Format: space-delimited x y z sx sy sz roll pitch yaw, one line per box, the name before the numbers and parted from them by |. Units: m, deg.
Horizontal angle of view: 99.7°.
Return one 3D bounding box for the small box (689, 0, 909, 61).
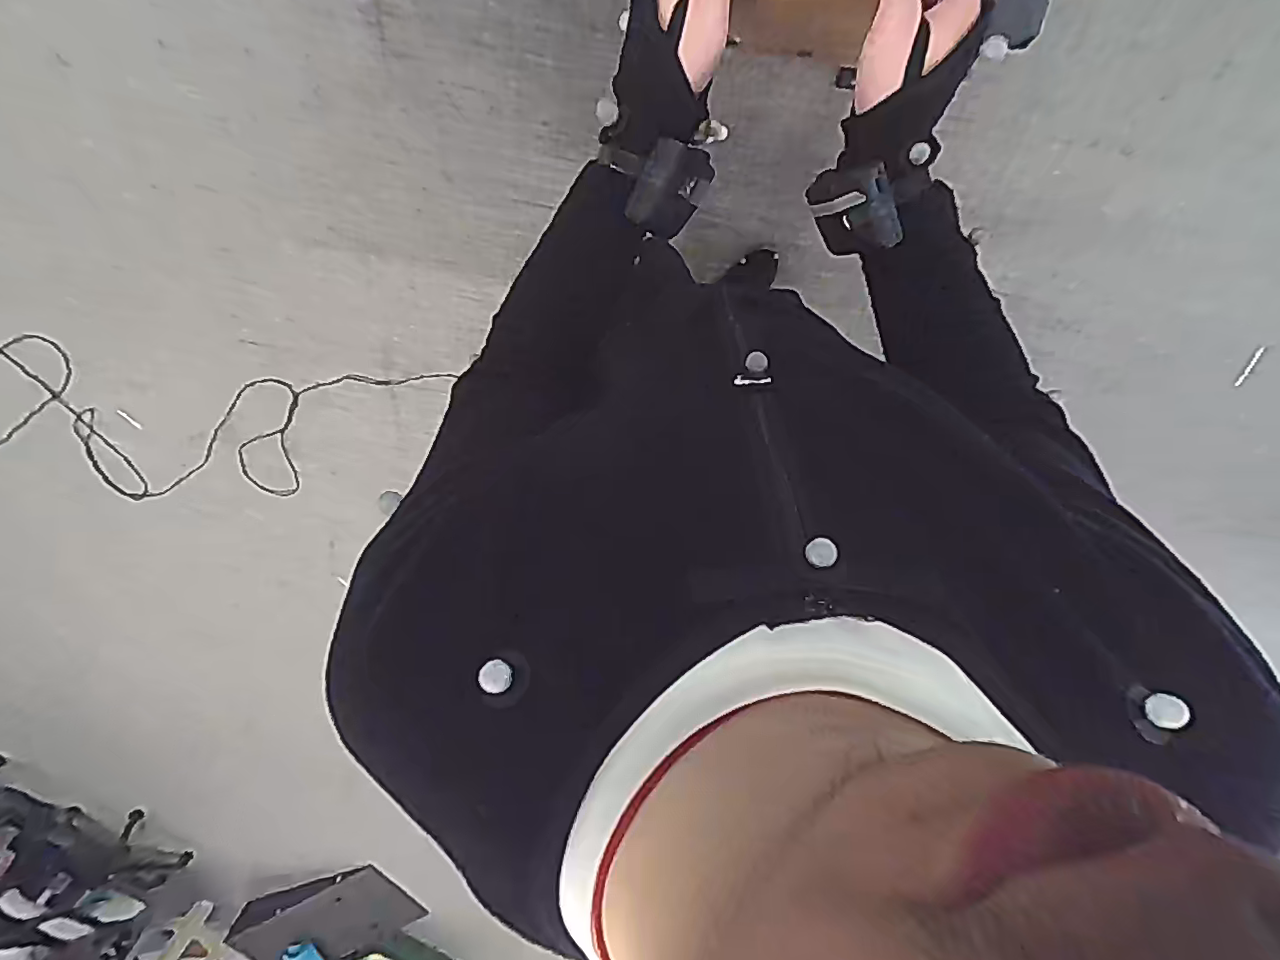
small box | 0.127 -0.434 0.387 0.168 0.176 0.179 6 112 0
